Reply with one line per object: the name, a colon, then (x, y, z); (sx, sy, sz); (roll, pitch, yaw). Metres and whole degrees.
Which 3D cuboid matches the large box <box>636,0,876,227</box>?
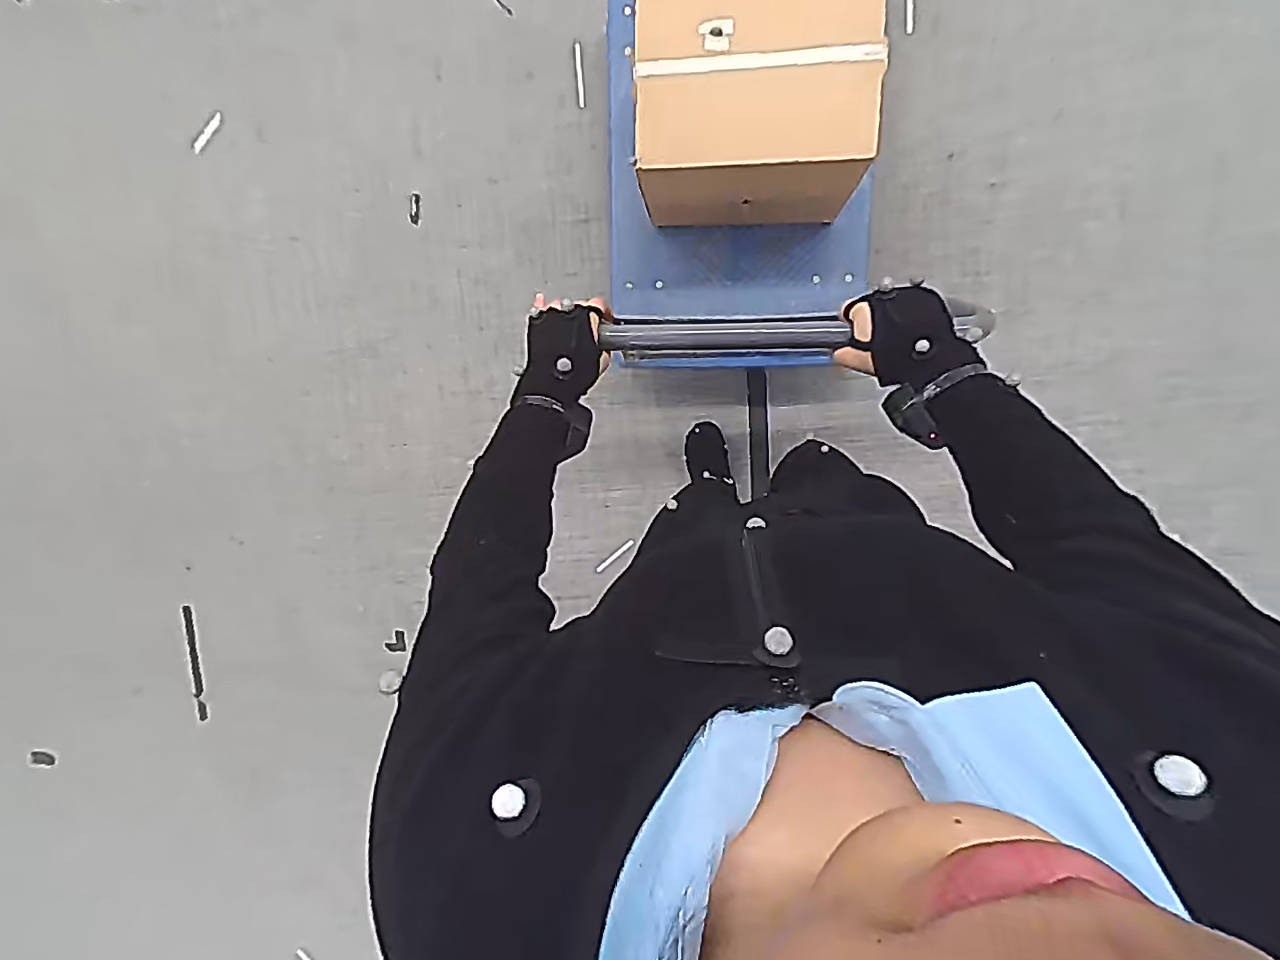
large box: (0.214, -0.715, 1.066); (0.408, 0.320, 0.320); (1, 96, 8)
